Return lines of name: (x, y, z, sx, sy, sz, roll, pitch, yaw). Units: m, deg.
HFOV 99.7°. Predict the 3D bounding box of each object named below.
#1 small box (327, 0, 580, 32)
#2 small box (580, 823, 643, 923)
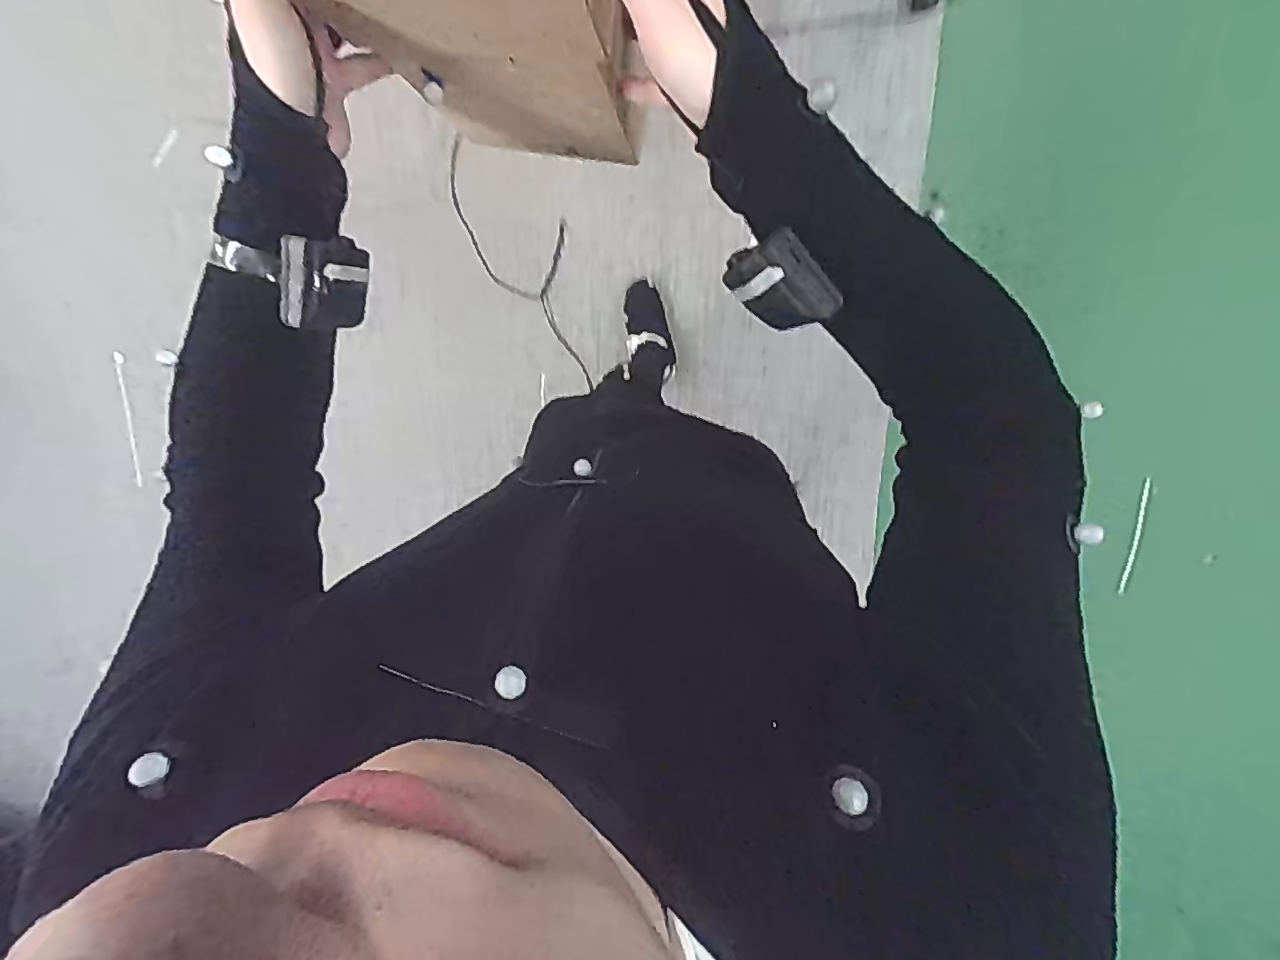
small box: (-0.112, -0.347, 0.247, 0.179, 0.176, 0.168, 9, 102, 9)
small box: (-0.086, 1.186, 1.644, 0.168, 0.176, 0.179, 4, 103, 9)
